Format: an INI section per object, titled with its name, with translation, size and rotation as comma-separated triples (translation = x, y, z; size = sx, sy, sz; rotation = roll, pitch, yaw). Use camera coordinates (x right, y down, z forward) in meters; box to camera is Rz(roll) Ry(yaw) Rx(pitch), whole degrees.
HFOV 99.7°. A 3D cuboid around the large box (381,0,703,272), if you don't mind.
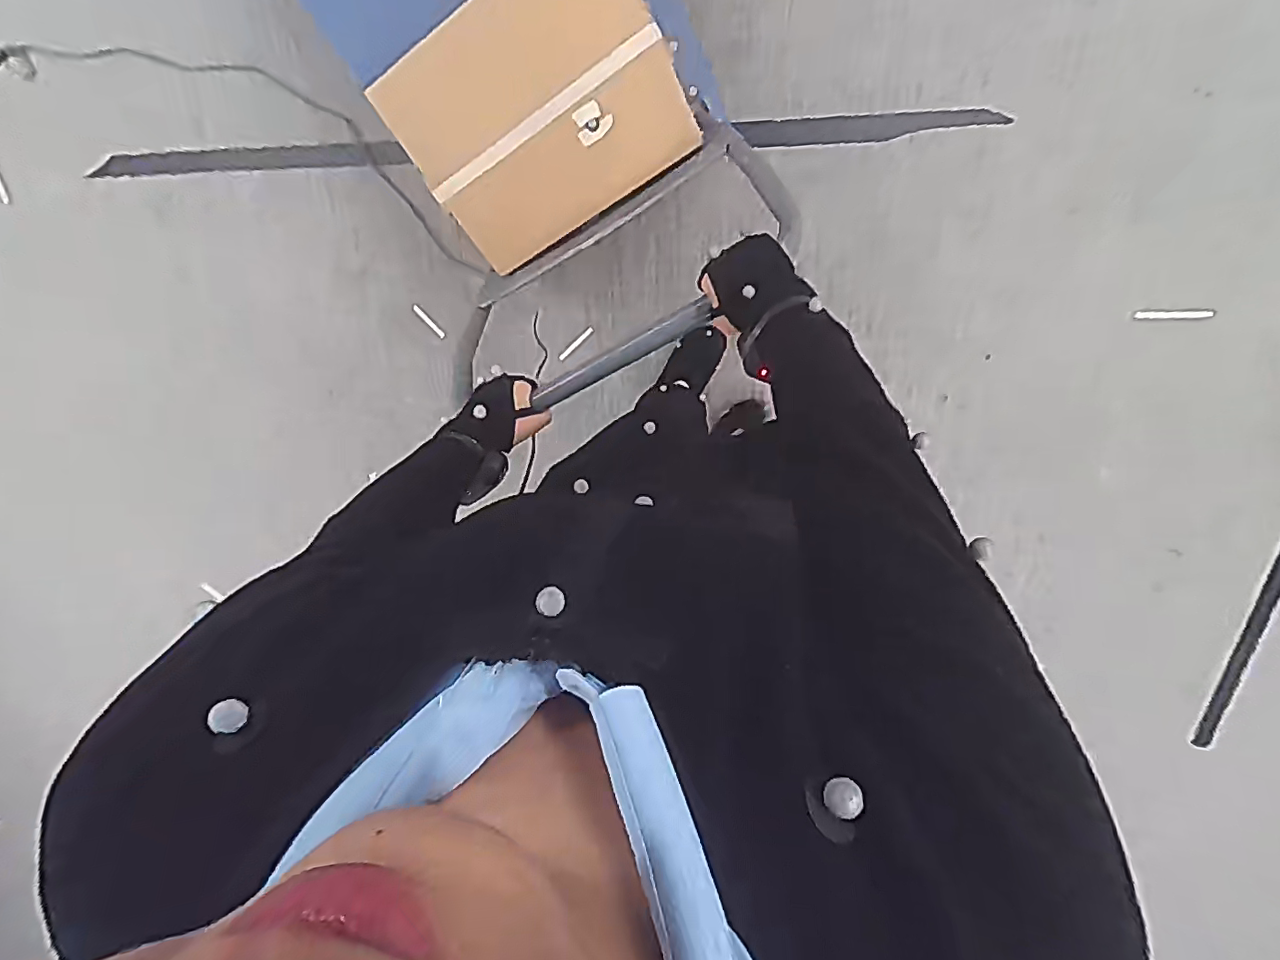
[large box]
translation = -0.150, -0.643, 0.944
size = 0.408, 0.320, 0.320
rotation = -27, 124, 17
